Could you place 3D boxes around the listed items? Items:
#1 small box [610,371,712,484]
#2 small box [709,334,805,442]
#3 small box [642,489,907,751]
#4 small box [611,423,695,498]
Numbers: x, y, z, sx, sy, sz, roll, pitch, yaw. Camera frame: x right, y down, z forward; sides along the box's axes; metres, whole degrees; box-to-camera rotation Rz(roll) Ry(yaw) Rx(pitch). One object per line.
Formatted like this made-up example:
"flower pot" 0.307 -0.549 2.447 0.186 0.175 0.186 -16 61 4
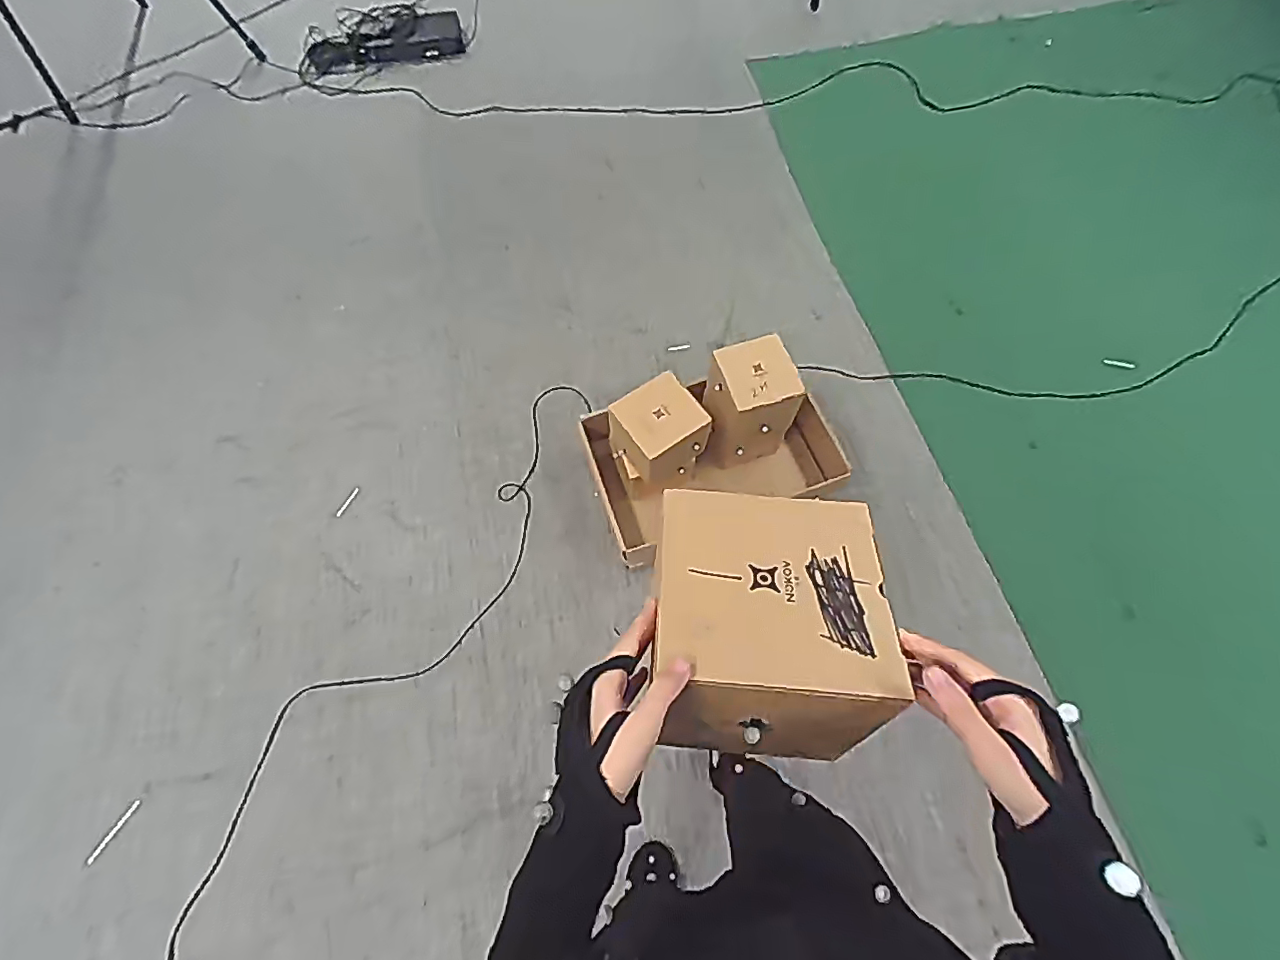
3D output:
"small box" 0.044 -0.119 1.282 0.179 0.176 0.168 -33 72 -12
"small box" 0.273 -0.219 1.313 0.168 0.176 0.179 -17 69 -4
"small box" 0.097 0.128 0.475 0.179 0.176 0.168 4 51 1
"small box" 0.034 -0.070 1.437 0.179 0.176 0.168 -17 69 -7
